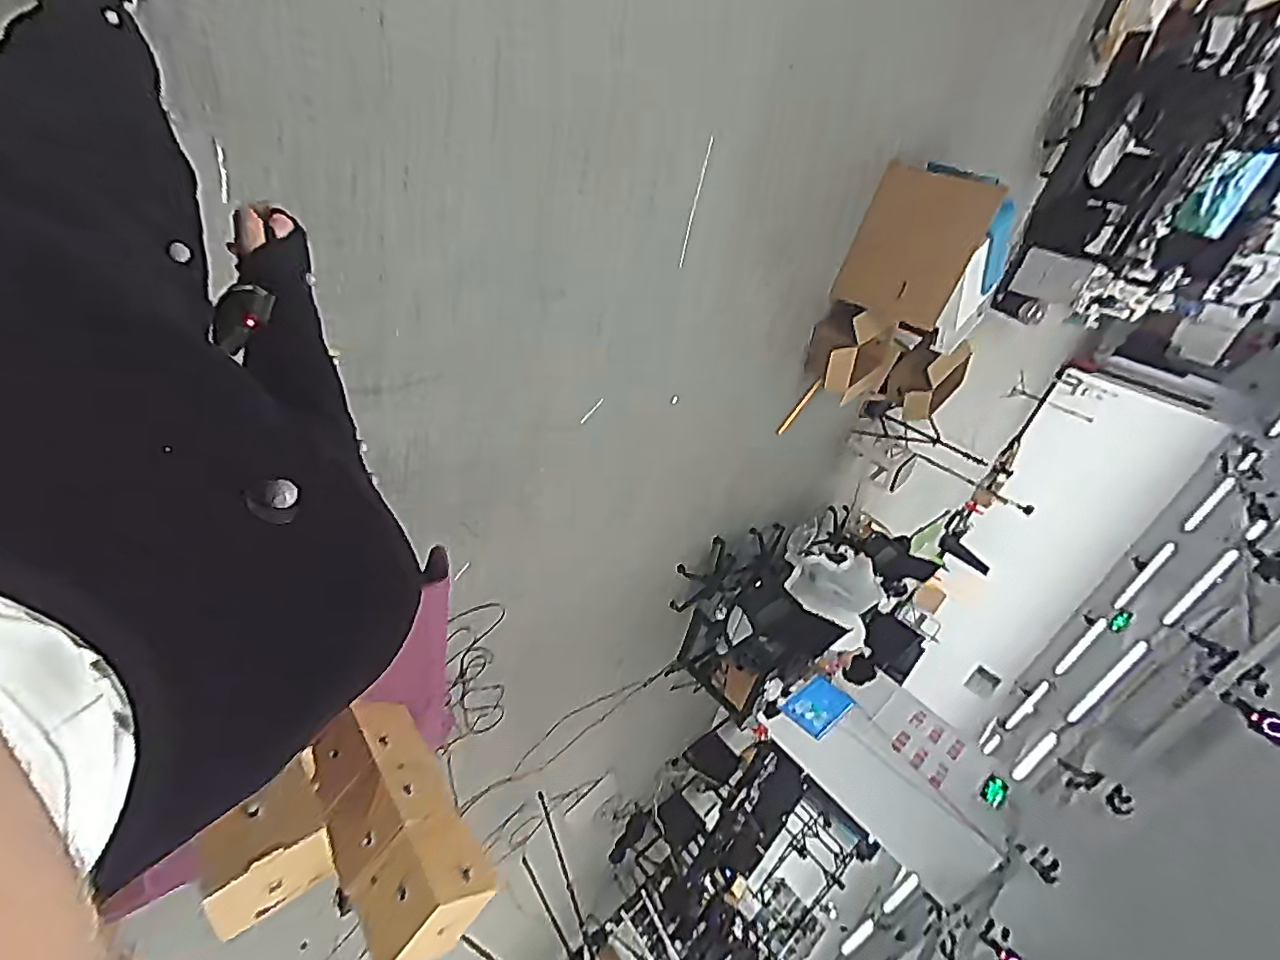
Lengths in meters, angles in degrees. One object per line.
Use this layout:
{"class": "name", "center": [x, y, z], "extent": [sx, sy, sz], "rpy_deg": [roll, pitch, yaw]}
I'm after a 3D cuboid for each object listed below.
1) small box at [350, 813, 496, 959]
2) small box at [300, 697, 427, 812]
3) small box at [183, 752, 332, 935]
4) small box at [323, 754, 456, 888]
{"class": "small box", "center": [-0.430, 0.795, 1.068], "extent": [0.168, 0.176, 0.179], "rpy_deg": [-51, 145, -3]}
{"class": "small box", "center": [-0.640, 0.626, 1.248], "extent": [0.168, 0.176, 0.179], "rpy_deg": [-49, 146, -4]}
{"class": "small box", "center": [-0.648, 0.601, 0.921], "extent": [0.168, 0.176, 0.179], "rpy_deg": [-17, 133, -40]}
{"class": "small box", "center": [-0.539, 0.713, 1.155], "extent": [0.179, 0.176, 0.168], "rpy_deg": [-49, 145, -4]}
